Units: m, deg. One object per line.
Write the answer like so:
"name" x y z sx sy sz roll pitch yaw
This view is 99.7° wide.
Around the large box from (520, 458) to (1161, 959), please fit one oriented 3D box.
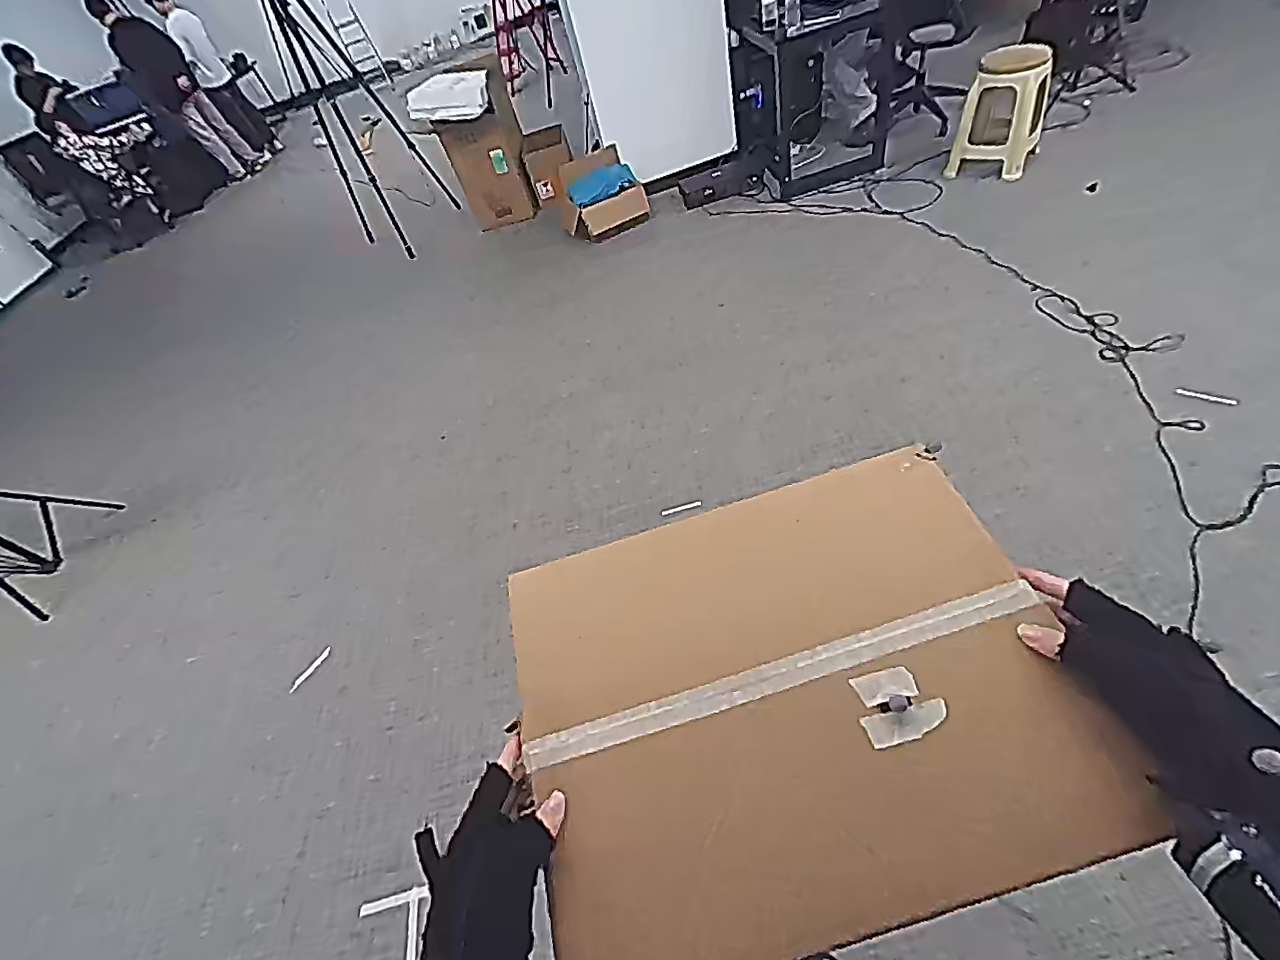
"large box" 0.136 0.241 0.550 0.408 0.320 0.320 -18 55 0
